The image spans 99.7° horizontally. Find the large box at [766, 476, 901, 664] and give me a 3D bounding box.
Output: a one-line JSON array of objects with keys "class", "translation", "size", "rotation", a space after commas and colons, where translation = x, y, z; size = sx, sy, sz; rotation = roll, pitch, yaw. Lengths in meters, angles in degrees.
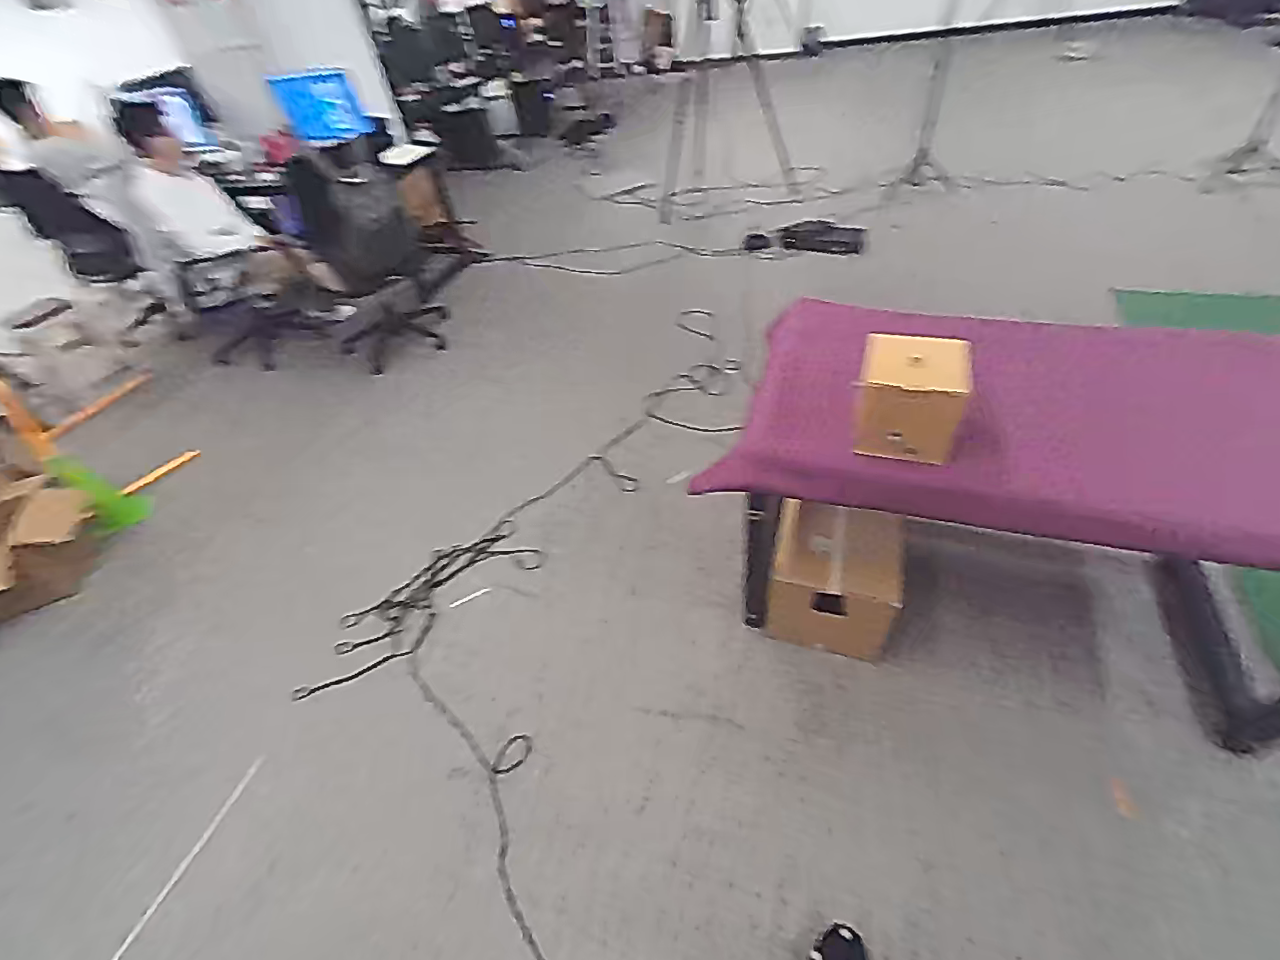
[{"class": "large box", "translation": [0.554, 0.252, 1.567], "size": [0.320, 0.320, 0.408], "rotation": [8, 49, 18]}]

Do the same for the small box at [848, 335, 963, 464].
[{"class": "small box", "translation": [0.504, -0.157, 1.041], "size": [0.168, 0.176, 0.179], "rotation": [9, 47, 19]}]
